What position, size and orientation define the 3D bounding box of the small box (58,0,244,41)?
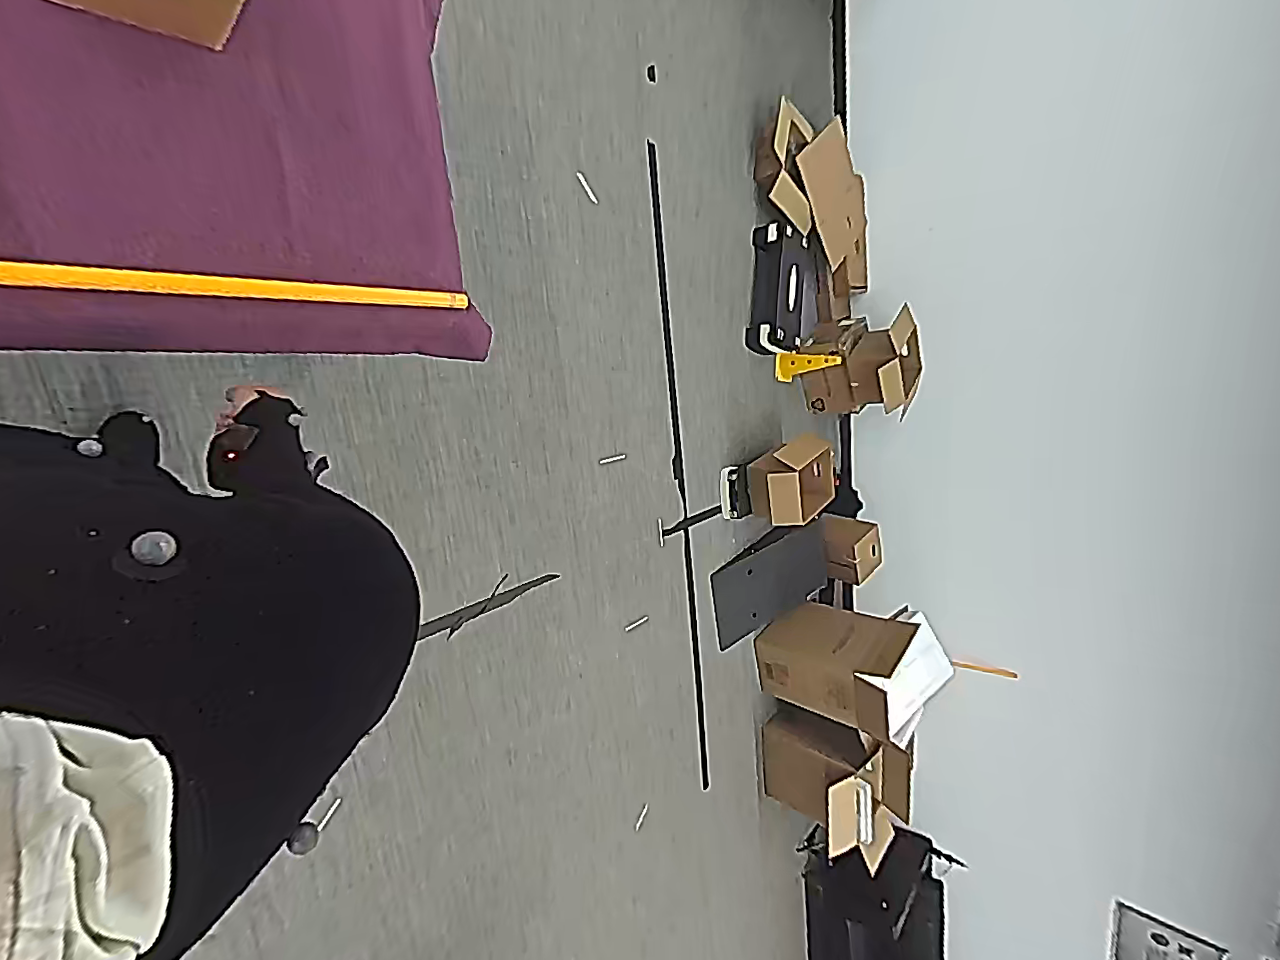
[{"bbox_3d":[-0.574,-0.636,0.601,0.179,0.176,0.168,-16,107,-45],"label":"small box"}]
